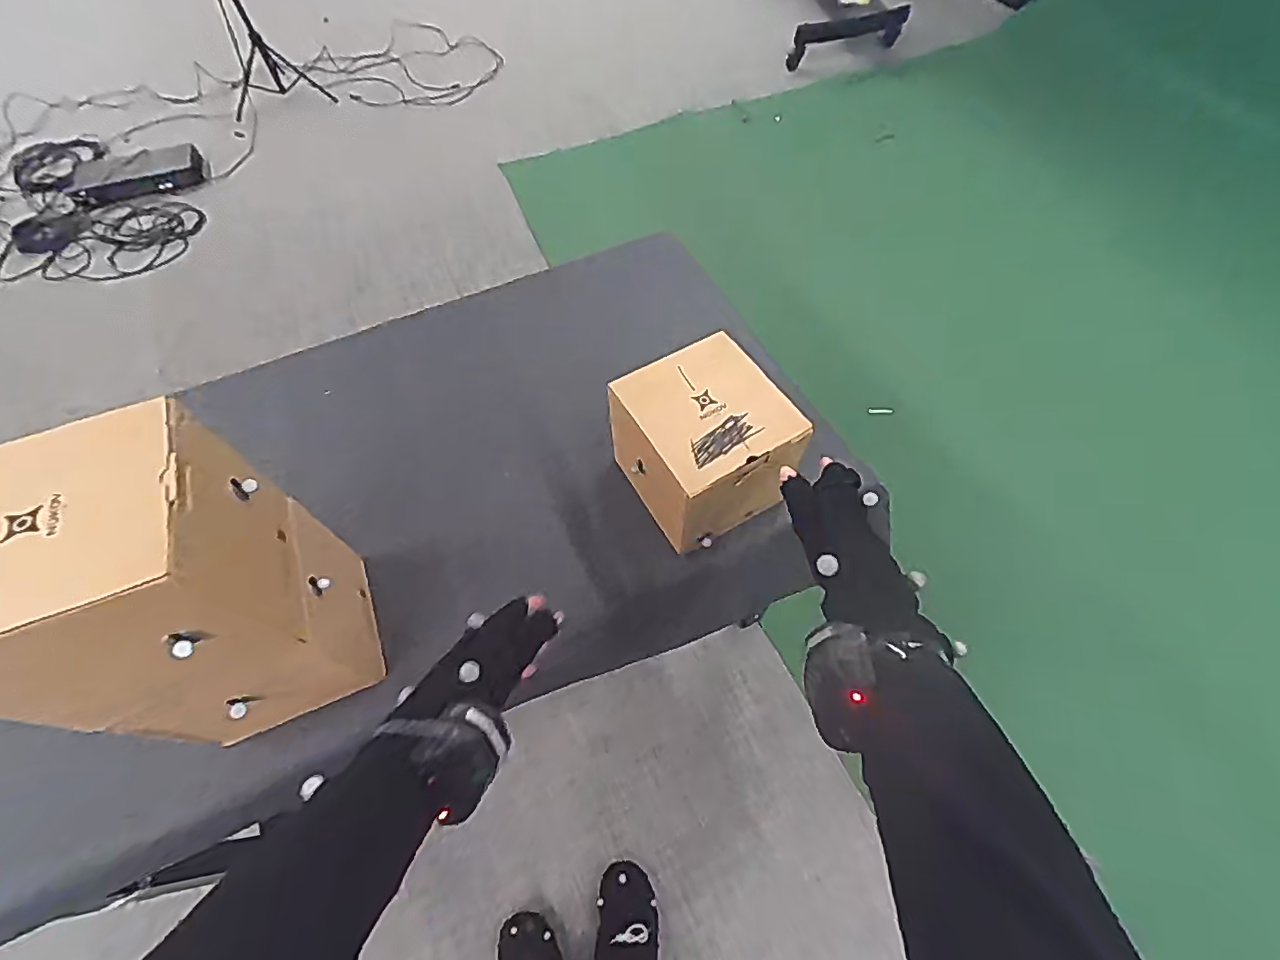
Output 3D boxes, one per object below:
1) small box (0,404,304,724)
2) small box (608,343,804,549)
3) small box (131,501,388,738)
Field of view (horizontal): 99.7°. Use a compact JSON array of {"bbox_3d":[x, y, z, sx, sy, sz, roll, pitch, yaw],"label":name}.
[{"bbox_3d":[-0.403,0.074,0.440,0.179,0.176,0.168,-22,59,-11],"label":"small box"},{"bbox_3d":[0.075,-0.033,0.688,0.168,0.176,0.179,-27,62,-14],"label":"small box"},{"bbox_3d":[-0.403,0.156,0.580,0.179,0.176,0.168,-21,61,-12],"label":"small box"}]
